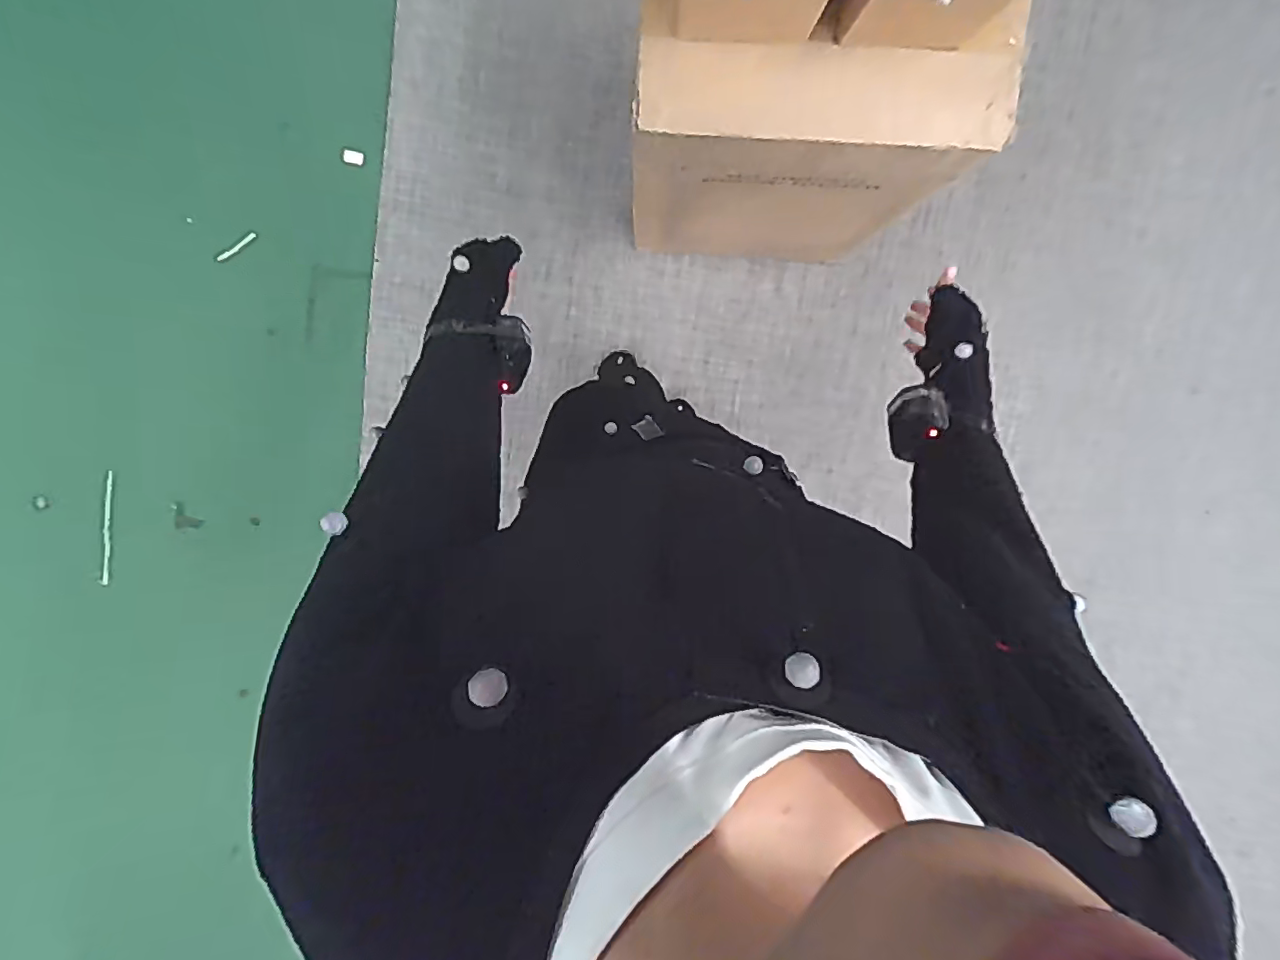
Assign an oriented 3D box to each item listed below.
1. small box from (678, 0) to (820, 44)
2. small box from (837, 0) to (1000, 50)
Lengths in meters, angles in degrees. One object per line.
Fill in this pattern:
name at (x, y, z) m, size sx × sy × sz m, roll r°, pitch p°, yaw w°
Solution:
small box at (0.138, -0.655, 0.639) m, size 0.179 × 0.176 × 0.168 m, roll 1°, pitch 104°, yaw -1°
small box at (0.353, -0.650, 0.645) m, size 0.179 × 0.176 × 0.168 m, roll -1°, pitch 105°, yaw -2°
